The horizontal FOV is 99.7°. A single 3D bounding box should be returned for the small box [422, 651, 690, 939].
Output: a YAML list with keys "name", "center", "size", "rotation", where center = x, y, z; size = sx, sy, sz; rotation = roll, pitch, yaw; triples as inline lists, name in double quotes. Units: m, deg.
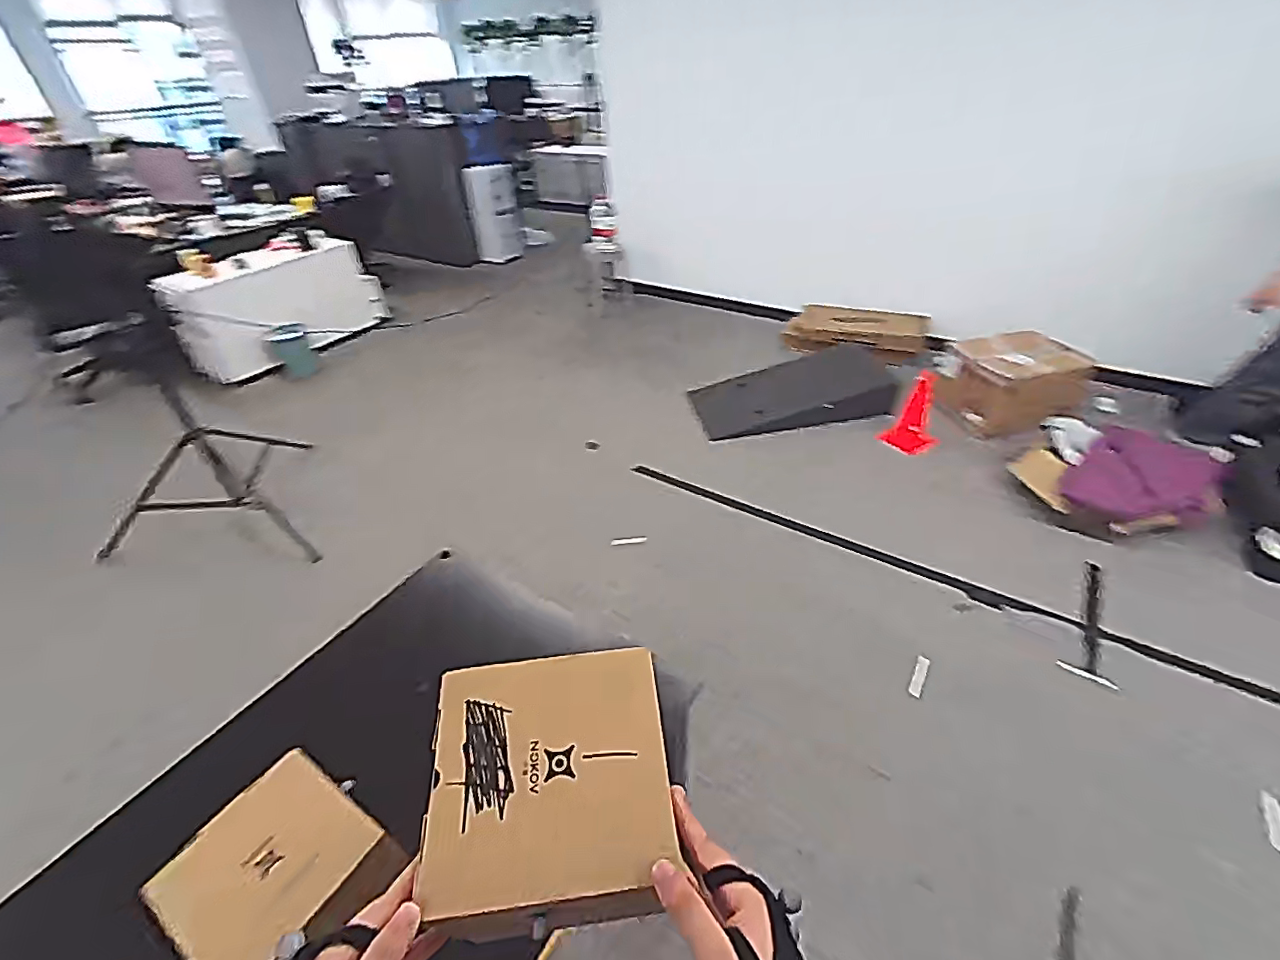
- name: "small box"
  center: [-0.057, 0.267, 0.456]
  size: [0.179, 0.176, 0.168]
  rotation: [-5, 47, -3]

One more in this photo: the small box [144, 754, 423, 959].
- name: "small box"
  center: [-0.382, 0.458, 0.608]
  size: [0.179, 0.176, 0.168]
  rotation: [20, 45, 25]
